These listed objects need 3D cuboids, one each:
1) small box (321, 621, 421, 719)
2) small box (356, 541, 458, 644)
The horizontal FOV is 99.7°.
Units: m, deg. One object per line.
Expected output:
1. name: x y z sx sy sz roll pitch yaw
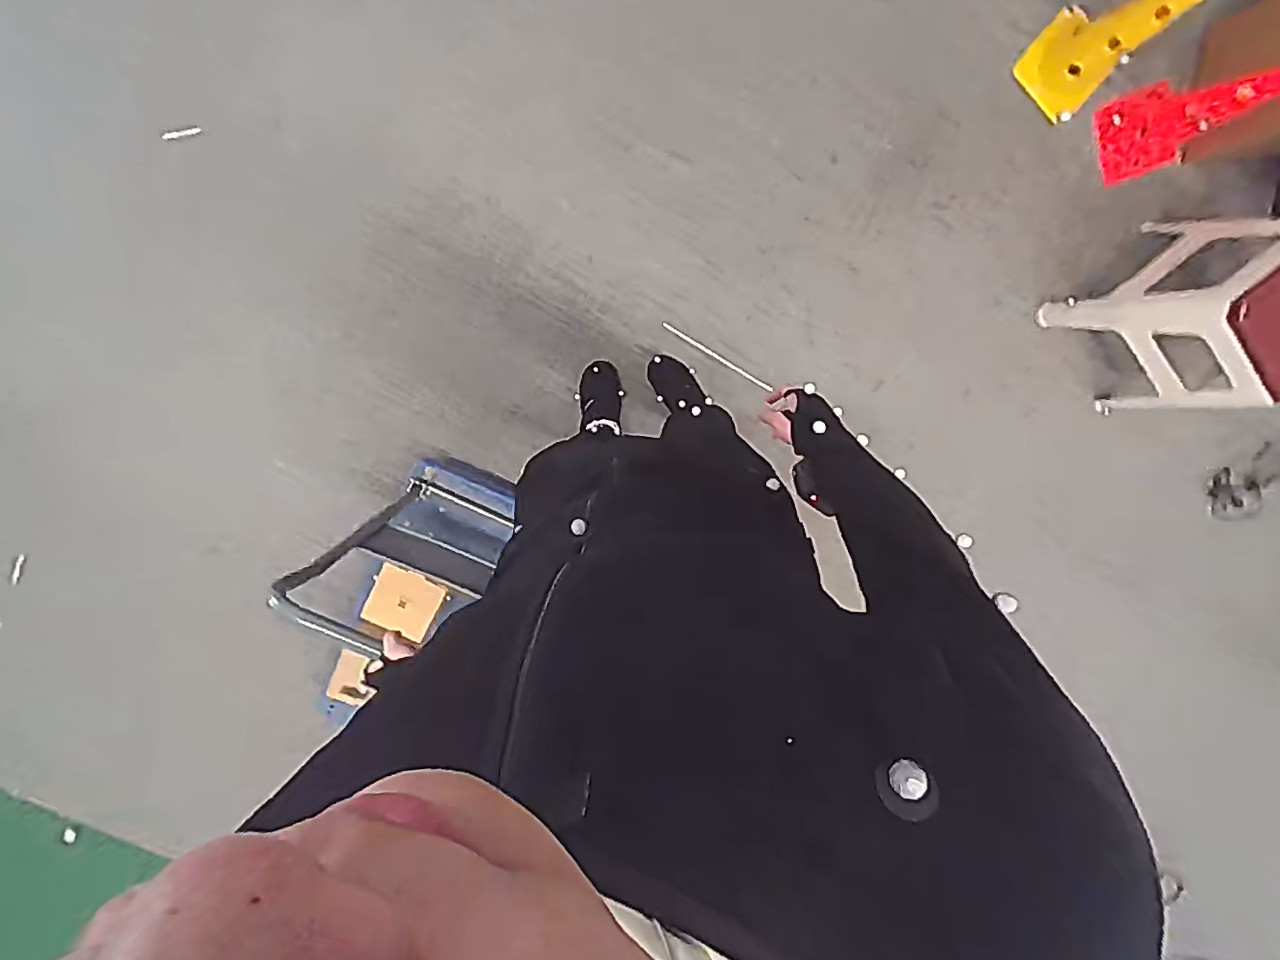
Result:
1. small box: -0.724 0.503 1.475 0.168 0.176 0.179 24 101 -8
2. small box: -0.604 0.291 1.428 0.168 0.176 0.179 28 102 -8
